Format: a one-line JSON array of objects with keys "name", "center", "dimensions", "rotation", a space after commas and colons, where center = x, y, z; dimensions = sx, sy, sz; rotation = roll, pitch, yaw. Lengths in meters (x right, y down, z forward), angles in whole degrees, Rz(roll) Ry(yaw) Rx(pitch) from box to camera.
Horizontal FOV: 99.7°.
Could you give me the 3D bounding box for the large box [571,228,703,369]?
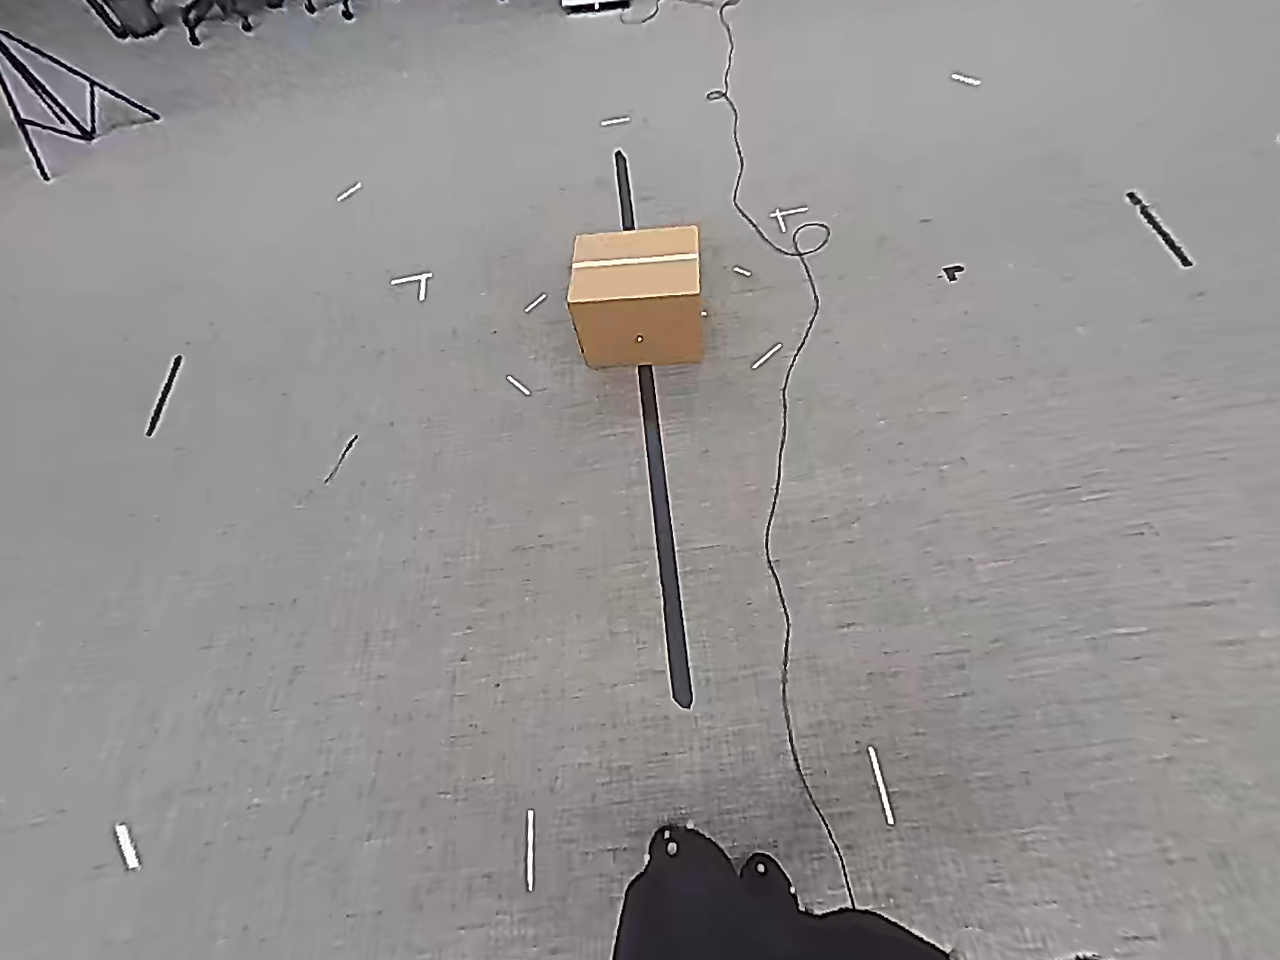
[{"name": "large box", "center": [0.003, -0.597, 1.811], "dimensions": [0.408, 0.320, 0.320], "rotation": [-2, 62, 7]}]
